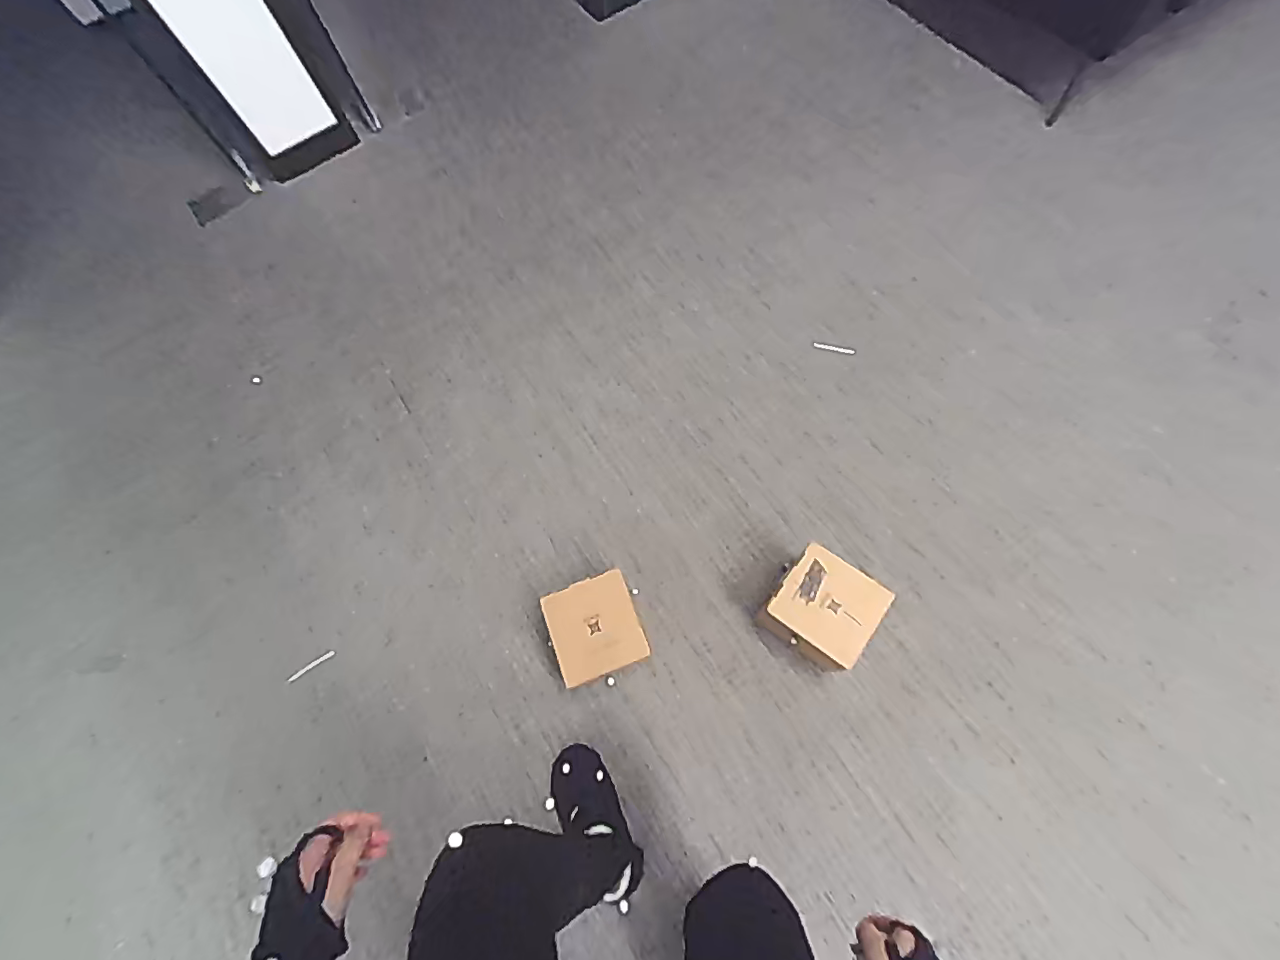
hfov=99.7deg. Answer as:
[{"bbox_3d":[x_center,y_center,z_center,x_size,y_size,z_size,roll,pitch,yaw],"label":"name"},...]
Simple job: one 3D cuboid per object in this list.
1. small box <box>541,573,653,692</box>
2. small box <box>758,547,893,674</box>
[{"bbox_3d":[-0.081,0.309,1.075,0.168,0.176,0.179,-21,68,-3],"label":"small box"},{"bbox_3d":[0.350,0.263,1.058,0.179,0.176,0.168,35,76,16],"label":"small box"}]
